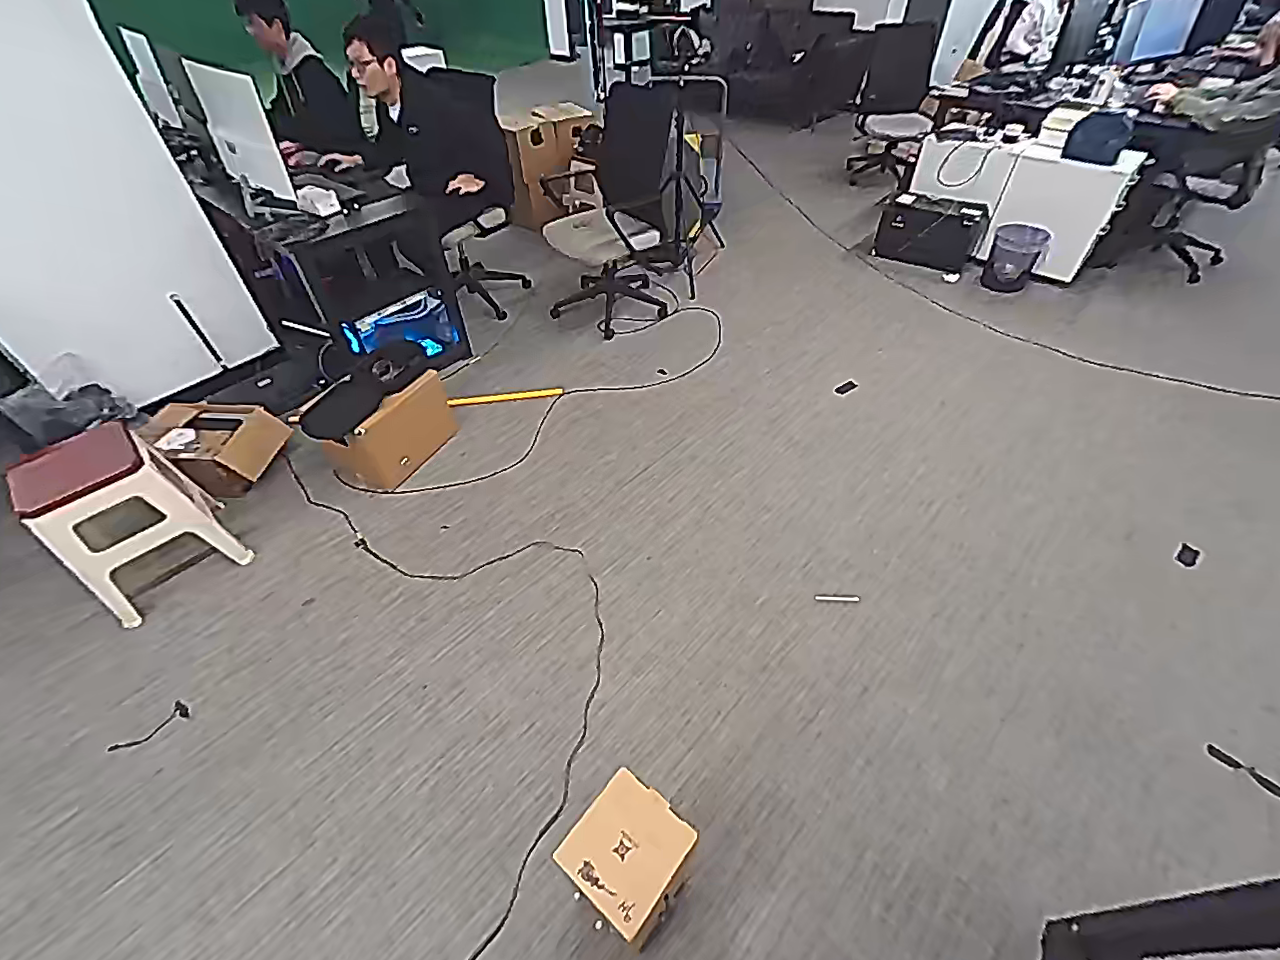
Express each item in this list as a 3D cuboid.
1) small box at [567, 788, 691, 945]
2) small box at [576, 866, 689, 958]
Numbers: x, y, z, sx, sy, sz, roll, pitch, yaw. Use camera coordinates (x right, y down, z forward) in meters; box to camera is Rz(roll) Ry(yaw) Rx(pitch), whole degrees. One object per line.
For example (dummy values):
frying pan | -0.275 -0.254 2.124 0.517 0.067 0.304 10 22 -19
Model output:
small box | -0.017 0.747 1.043 0.168 0.176 0.179 28 51 24
small box | -0.015 0.865 1.154 0.168 0.176 0.179 30 54 28
